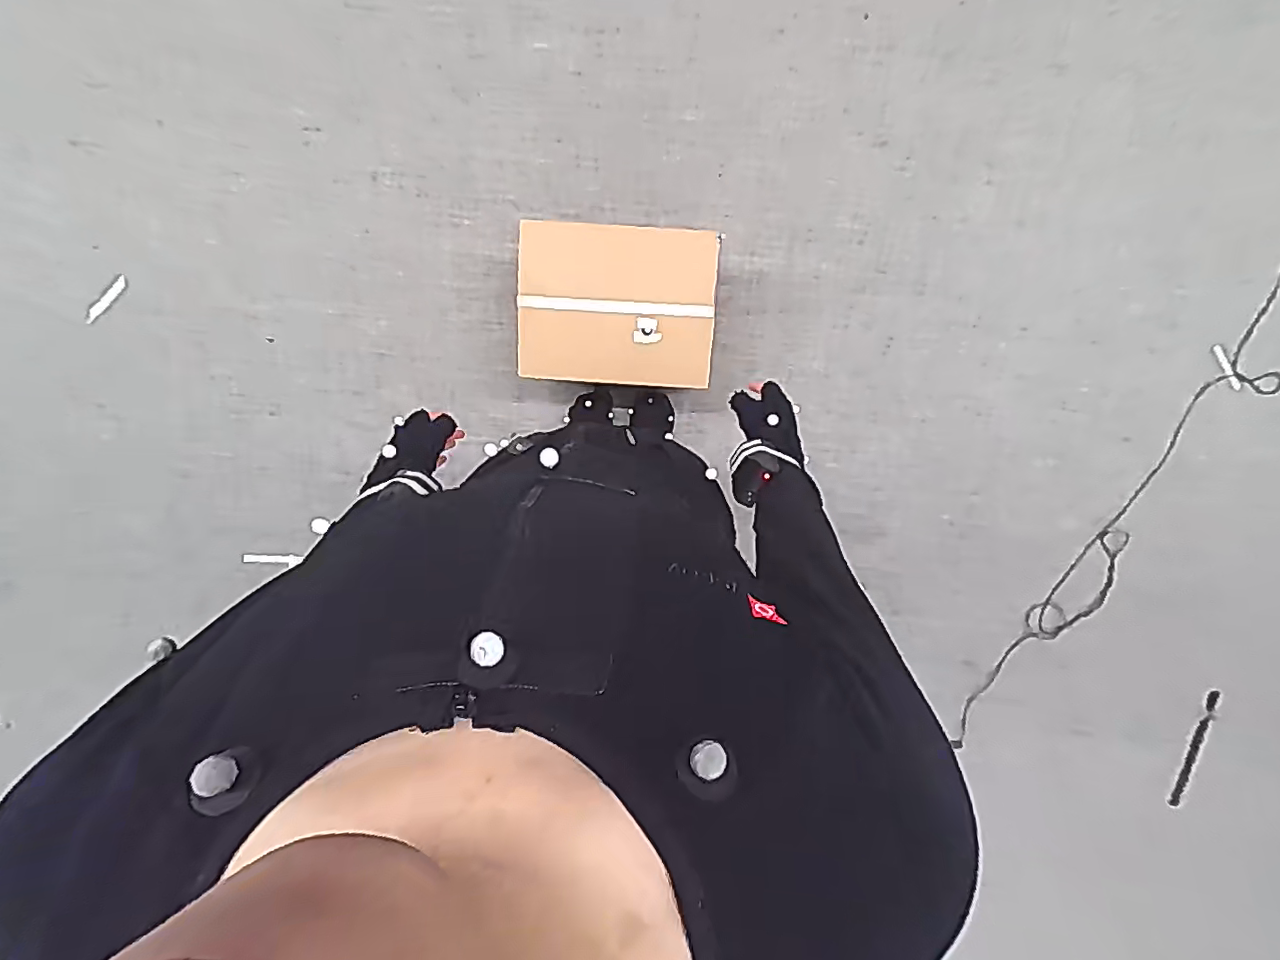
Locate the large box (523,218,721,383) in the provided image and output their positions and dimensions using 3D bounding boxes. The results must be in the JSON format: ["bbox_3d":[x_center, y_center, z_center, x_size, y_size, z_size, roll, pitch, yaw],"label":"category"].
[{"bbox_3d":[-0.043,-0.393,1.254,0.408,0.320,0.320,3,103,-1],"label":"large box"}]
